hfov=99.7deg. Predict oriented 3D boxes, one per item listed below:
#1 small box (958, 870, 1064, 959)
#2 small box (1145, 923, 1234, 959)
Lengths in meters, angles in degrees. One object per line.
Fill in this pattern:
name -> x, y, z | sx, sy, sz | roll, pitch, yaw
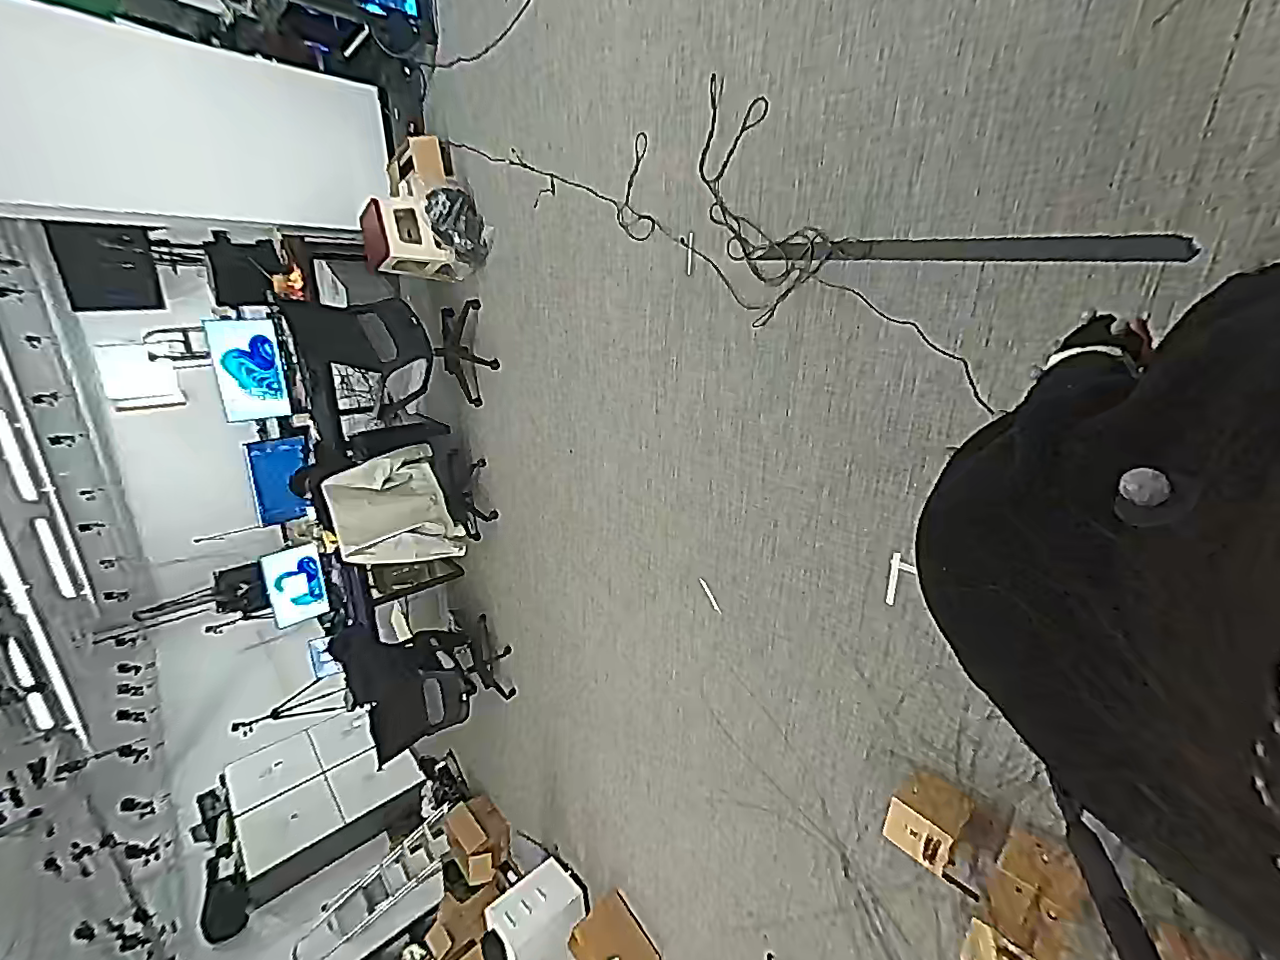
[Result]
small box -> 0.923, 1.133, 1.343 | 0.168, 0.176, 0.179 | 21, 119, 44
small box -> 1.266, 1.175, 1.224 | 0.179, 0.176, 0.168 | 10, 110, 46
